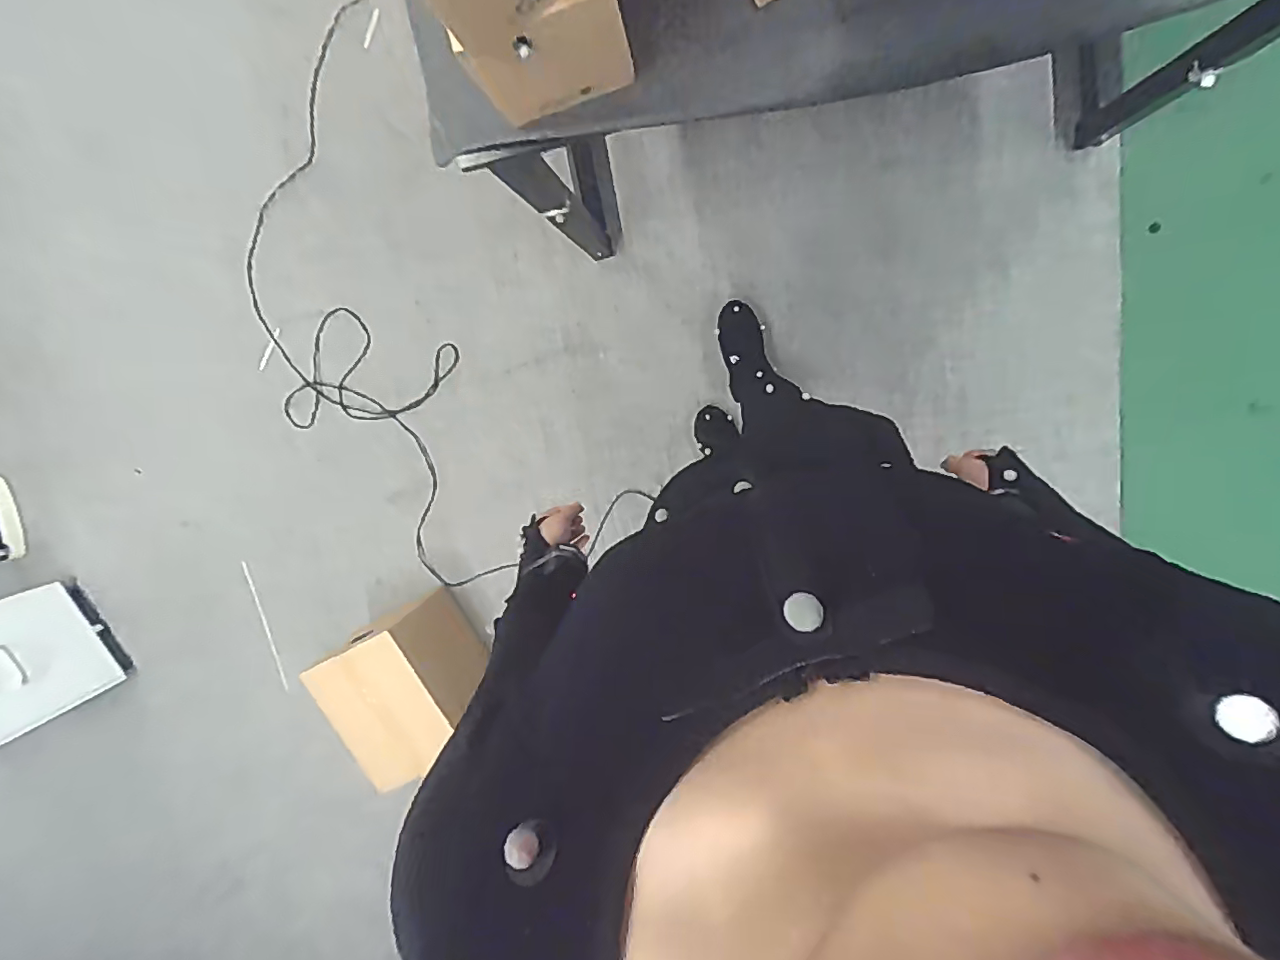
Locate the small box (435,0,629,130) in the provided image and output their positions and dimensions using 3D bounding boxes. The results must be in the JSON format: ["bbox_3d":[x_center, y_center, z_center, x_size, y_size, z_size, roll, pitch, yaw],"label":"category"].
[{"bbox_3d":[-0.119,-0.529,0.587,0.168,0.176,0.179,-14,99,11],"label":"small box"}]
